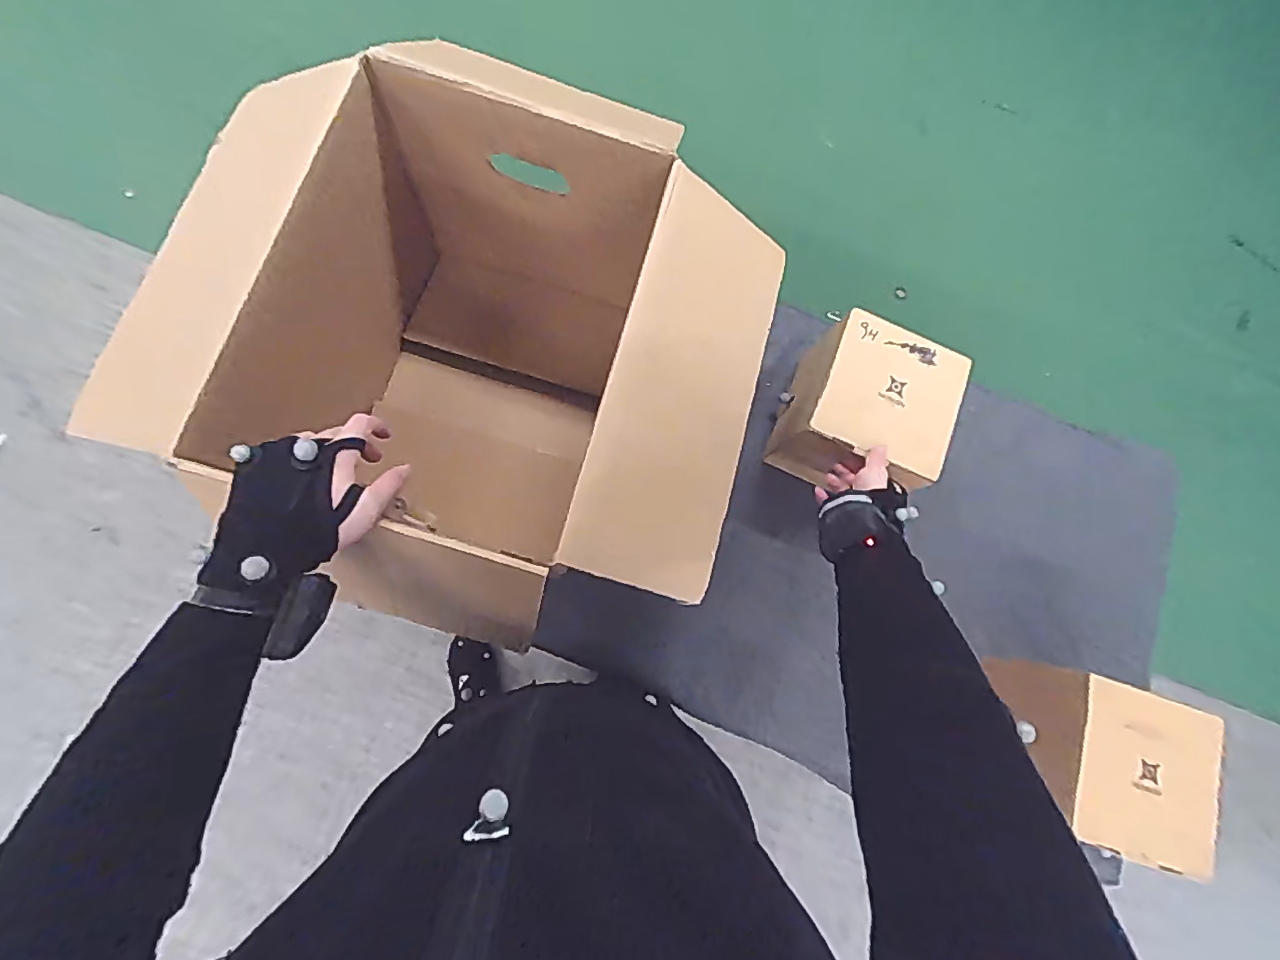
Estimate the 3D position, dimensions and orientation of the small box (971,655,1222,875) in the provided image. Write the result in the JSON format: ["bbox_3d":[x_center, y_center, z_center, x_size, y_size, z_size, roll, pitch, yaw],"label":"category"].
[{"bbox_3d":[0.550,0.334,0.673,0.168,0.176,0.179,19,76,-2],"label":"small box"}]
